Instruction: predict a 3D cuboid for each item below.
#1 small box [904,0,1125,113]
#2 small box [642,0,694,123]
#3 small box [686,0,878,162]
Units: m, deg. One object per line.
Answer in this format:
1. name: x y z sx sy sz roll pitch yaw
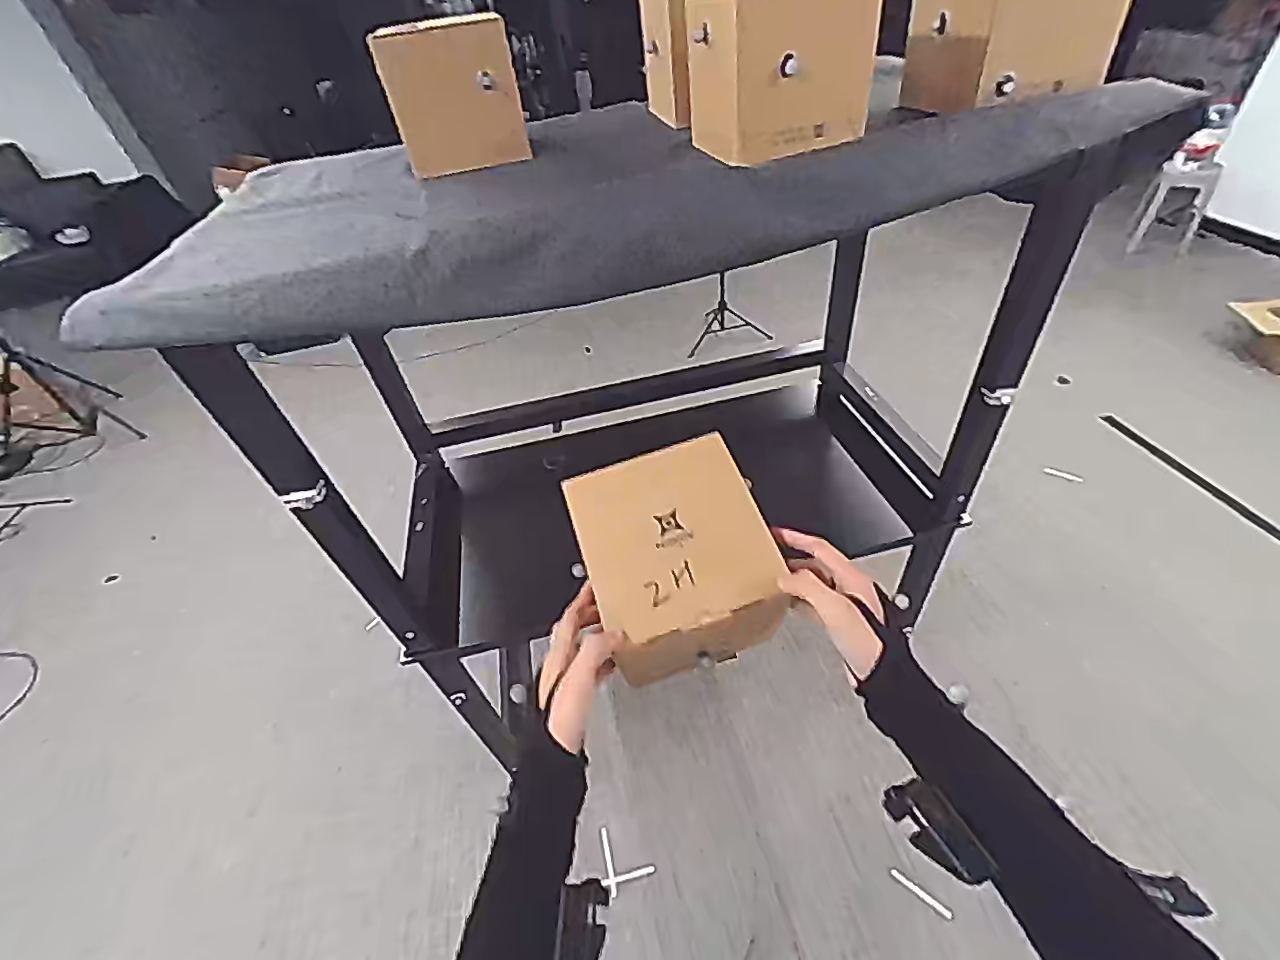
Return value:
1. small box: 0.454 -0.566 0.663 0.168 0.176 0.179 -12 40 -2
2. small box: 0.103 -0.676 0.845 0.168 0.176 0.179 -14 43 -5
3. small box: 0.162 -0.495 0.643 0.168 0.176 0.179 -15 41 -6
